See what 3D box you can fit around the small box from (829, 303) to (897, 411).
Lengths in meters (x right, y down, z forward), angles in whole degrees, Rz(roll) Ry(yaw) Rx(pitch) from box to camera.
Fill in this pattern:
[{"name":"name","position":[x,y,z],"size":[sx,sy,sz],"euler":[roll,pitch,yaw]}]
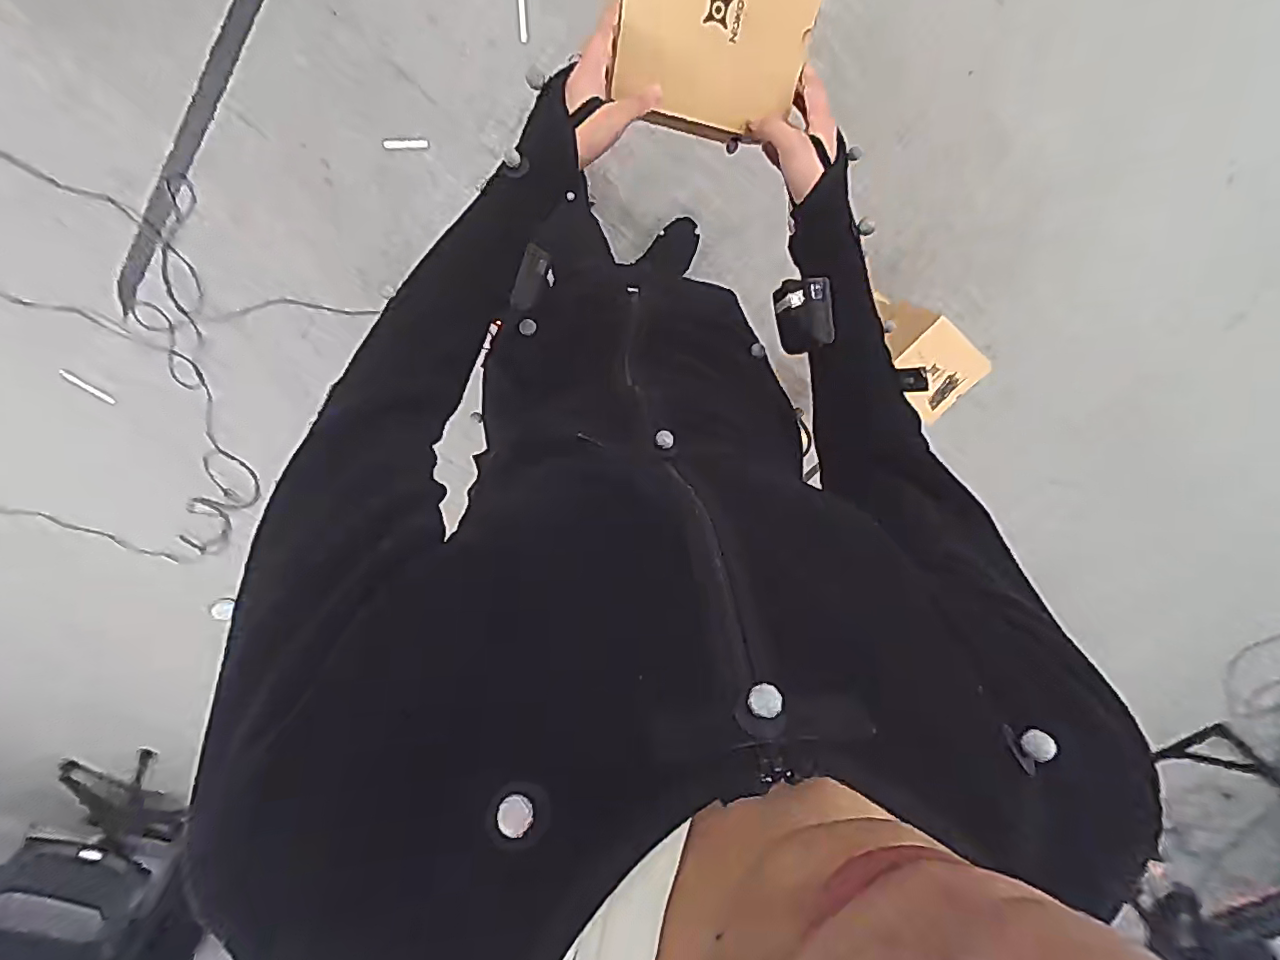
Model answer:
[{"name":"small box","position":[0.599,-0.308,1.331],"size":[0.168,0.176,0.179],"euler":[32,114,-18]}]

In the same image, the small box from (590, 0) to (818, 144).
[{"name":"small box","position":[0.051,-0.440,0.528],"size":[0.179,0.176,0.168],"euler":[3,121,-15]}]

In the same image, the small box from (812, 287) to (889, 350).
[{"name":"small box","position":[0.601,-0.400,1.467],"size":[0.179,0.176,0.168],"euler":[33,113,-18]}]

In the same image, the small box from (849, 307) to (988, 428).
[{"name":"small box","position":[0.595,-0.251,1.175],"size":[0.179,0.176,0.168],"euler":[36,111,-19]}]
